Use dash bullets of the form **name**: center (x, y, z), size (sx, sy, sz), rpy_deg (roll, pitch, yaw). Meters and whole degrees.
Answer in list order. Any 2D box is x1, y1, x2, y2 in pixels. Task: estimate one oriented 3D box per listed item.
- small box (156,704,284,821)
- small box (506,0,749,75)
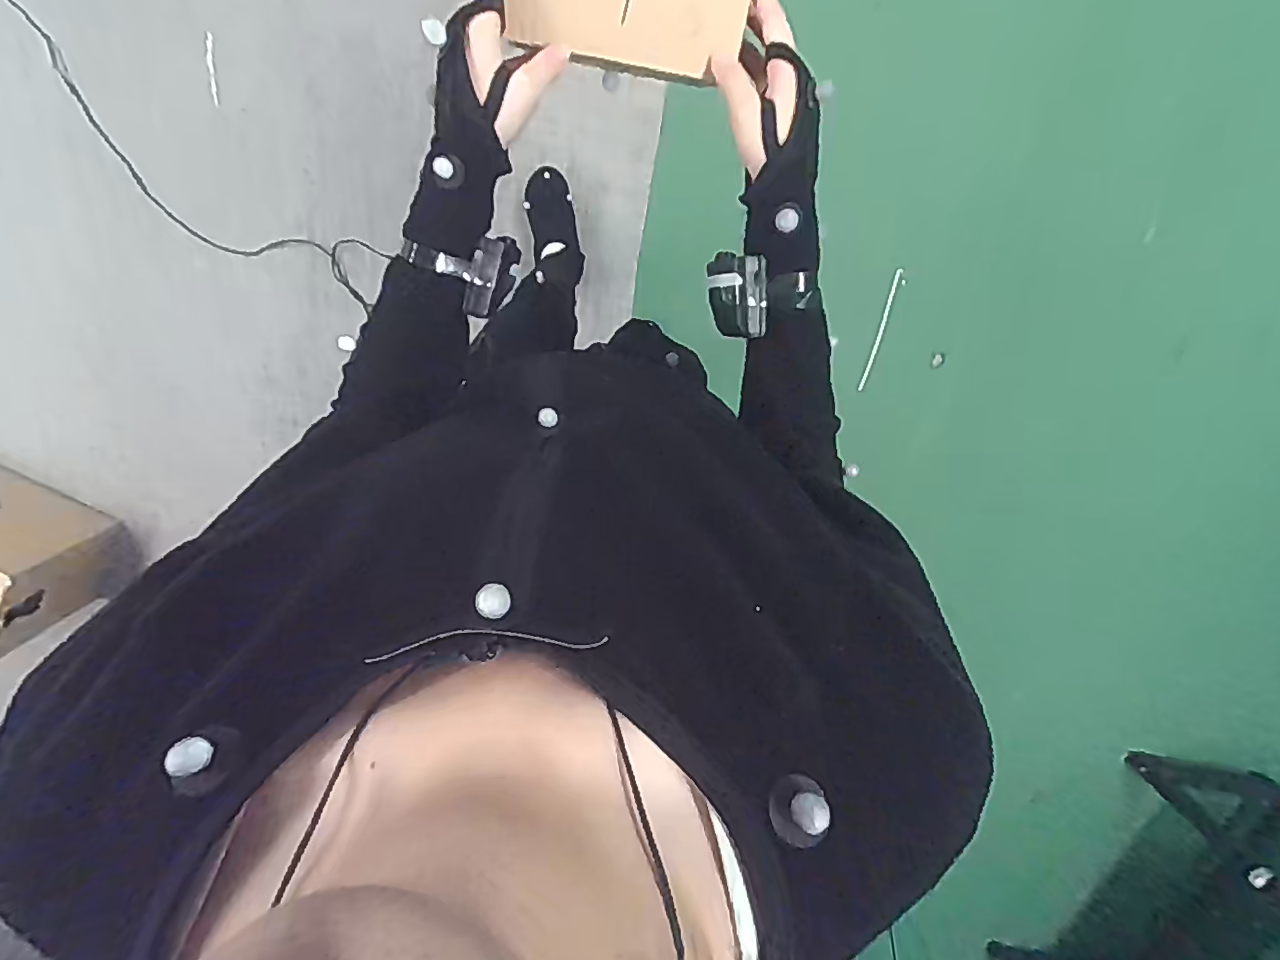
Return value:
- **small box**: center (-0.946, 0.648, 1.238), size (0.168, 0.176, 0.179), rpy_deg (8, 109, -5)
- **small box**: center (-0.003, -0.421, 0.397), size (0.168, 0.176, 0.179), rpy_deg (5, 126, -7)
